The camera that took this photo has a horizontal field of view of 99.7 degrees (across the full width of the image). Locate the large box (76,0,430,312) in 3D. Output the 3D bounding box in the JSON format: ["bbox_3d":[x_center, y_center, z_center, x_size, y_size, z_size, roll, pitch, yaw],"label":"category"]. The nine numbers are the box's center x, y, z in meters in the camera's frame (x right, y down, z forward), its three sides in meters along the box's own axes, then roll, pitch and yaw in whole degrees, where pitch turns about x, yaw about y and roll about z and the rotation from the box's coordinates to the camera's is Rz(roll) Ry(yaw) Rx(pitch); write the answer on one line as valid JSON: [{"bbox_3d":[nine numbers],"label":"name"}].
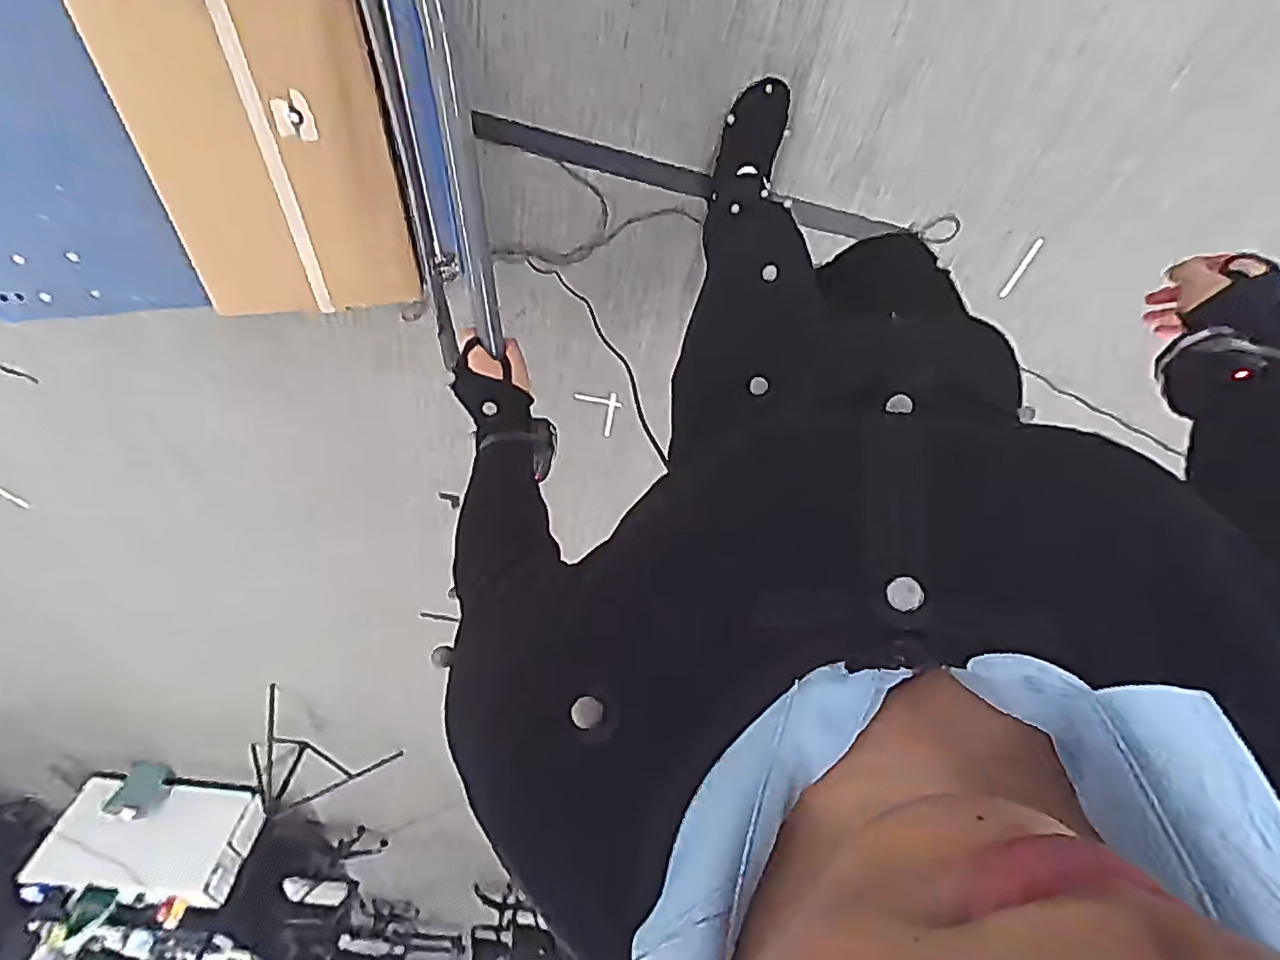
[{"bbox_3d":[-0.549,-0.538,0.882,0.320,0.320,0.408,-11,132,-14],"label":"large box"}]
